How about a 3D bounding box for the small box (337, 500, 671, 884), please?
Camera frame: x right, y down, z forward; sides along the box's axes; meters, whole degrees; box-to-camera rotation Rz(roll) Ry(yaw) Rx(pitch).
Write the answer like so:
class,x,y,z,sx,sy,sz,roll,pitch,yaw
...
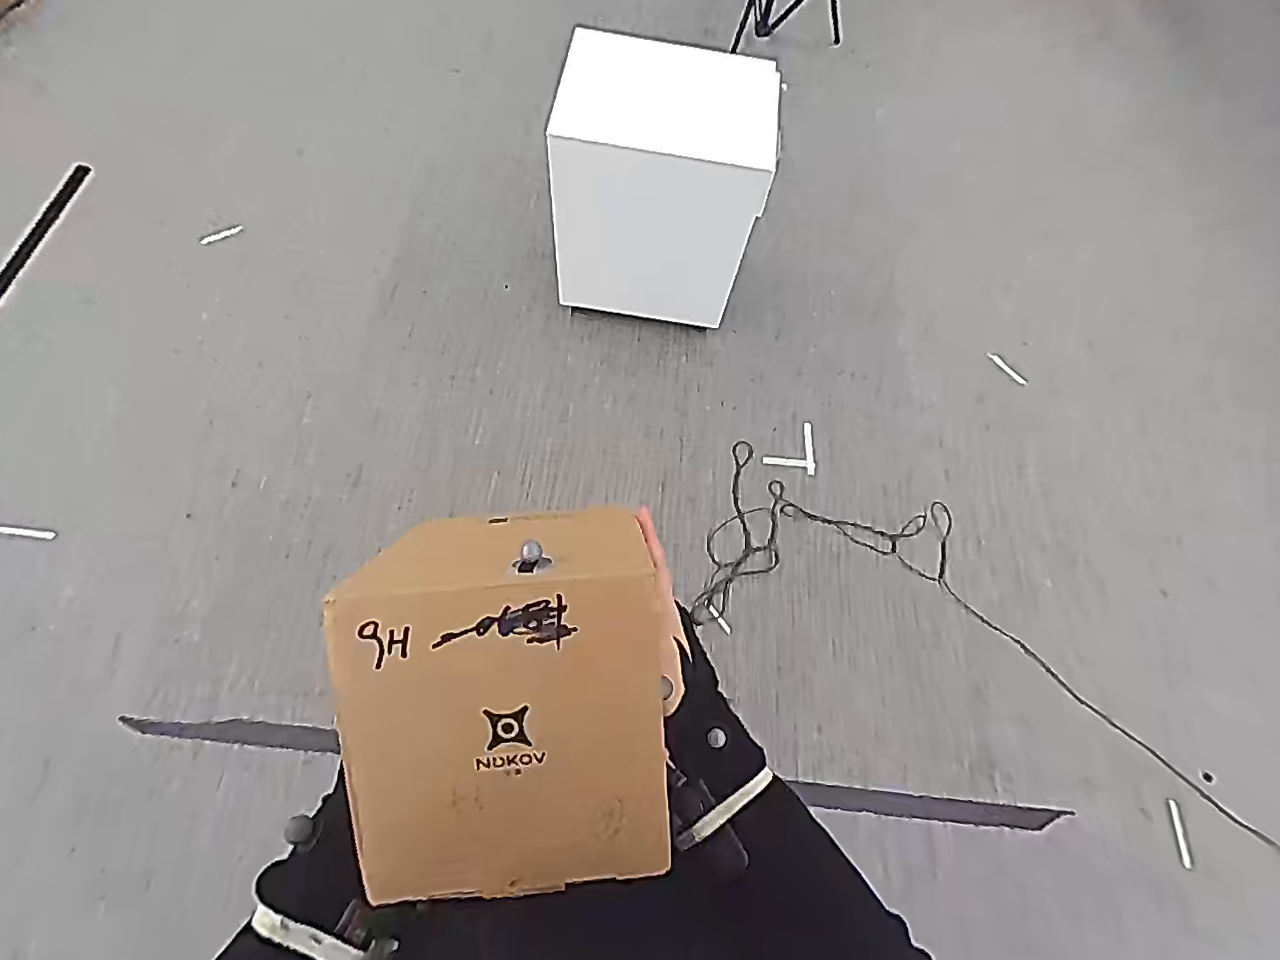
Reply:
class,x,y,z,sx,sy,sz,roll,pitch,yaw
small box,-0.072,0.118,0.365,0.168,0.176,0.179,-4,99,-5
